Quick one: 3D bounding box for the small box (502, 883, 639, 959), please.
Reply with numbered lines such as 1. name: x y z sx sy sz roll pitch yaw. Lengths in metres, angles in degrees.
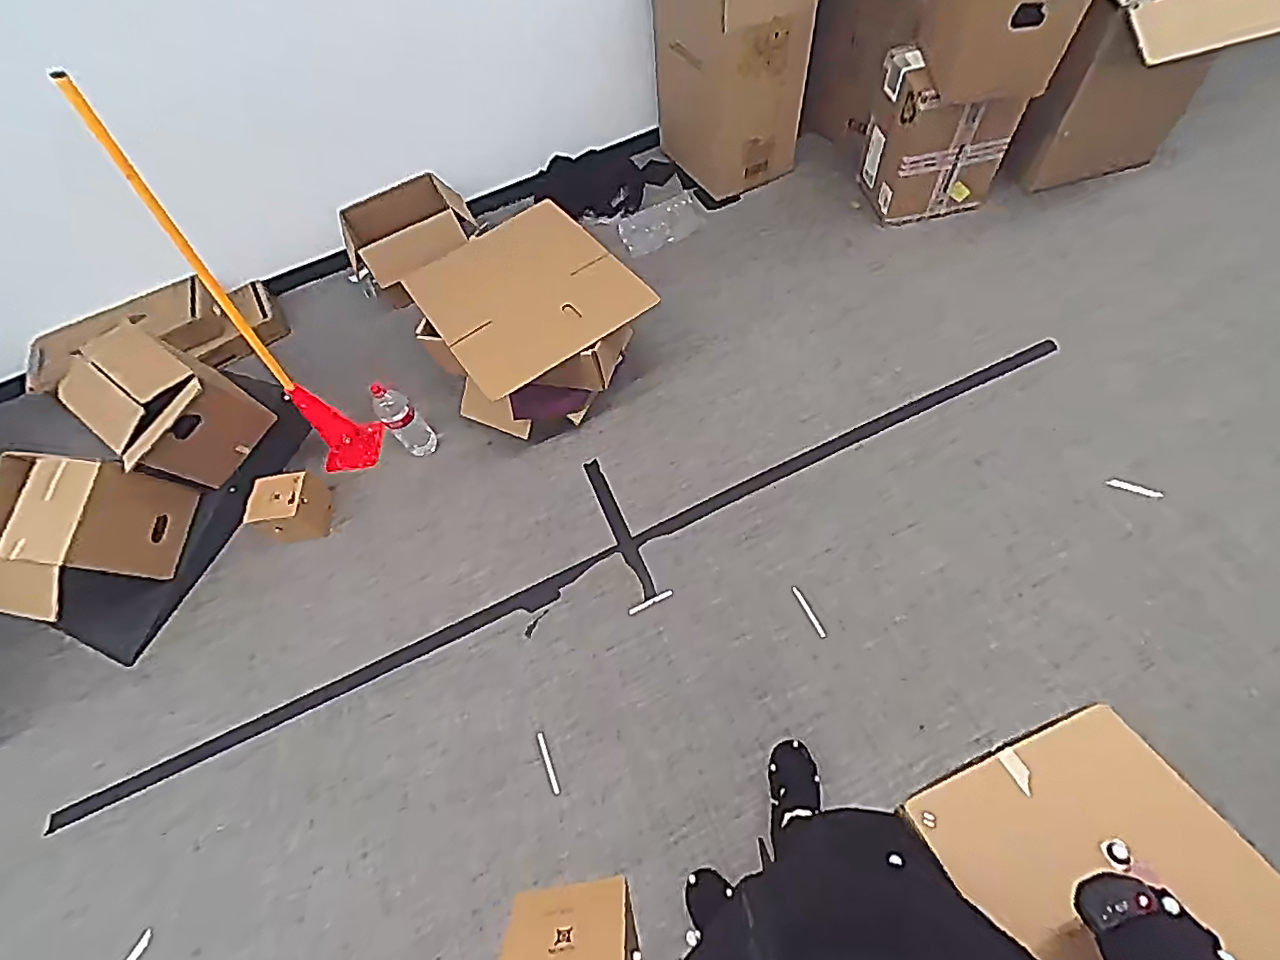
1. small box: -0.085 0.690 0.711 0.168 0.179 0.176 -10 93 0
